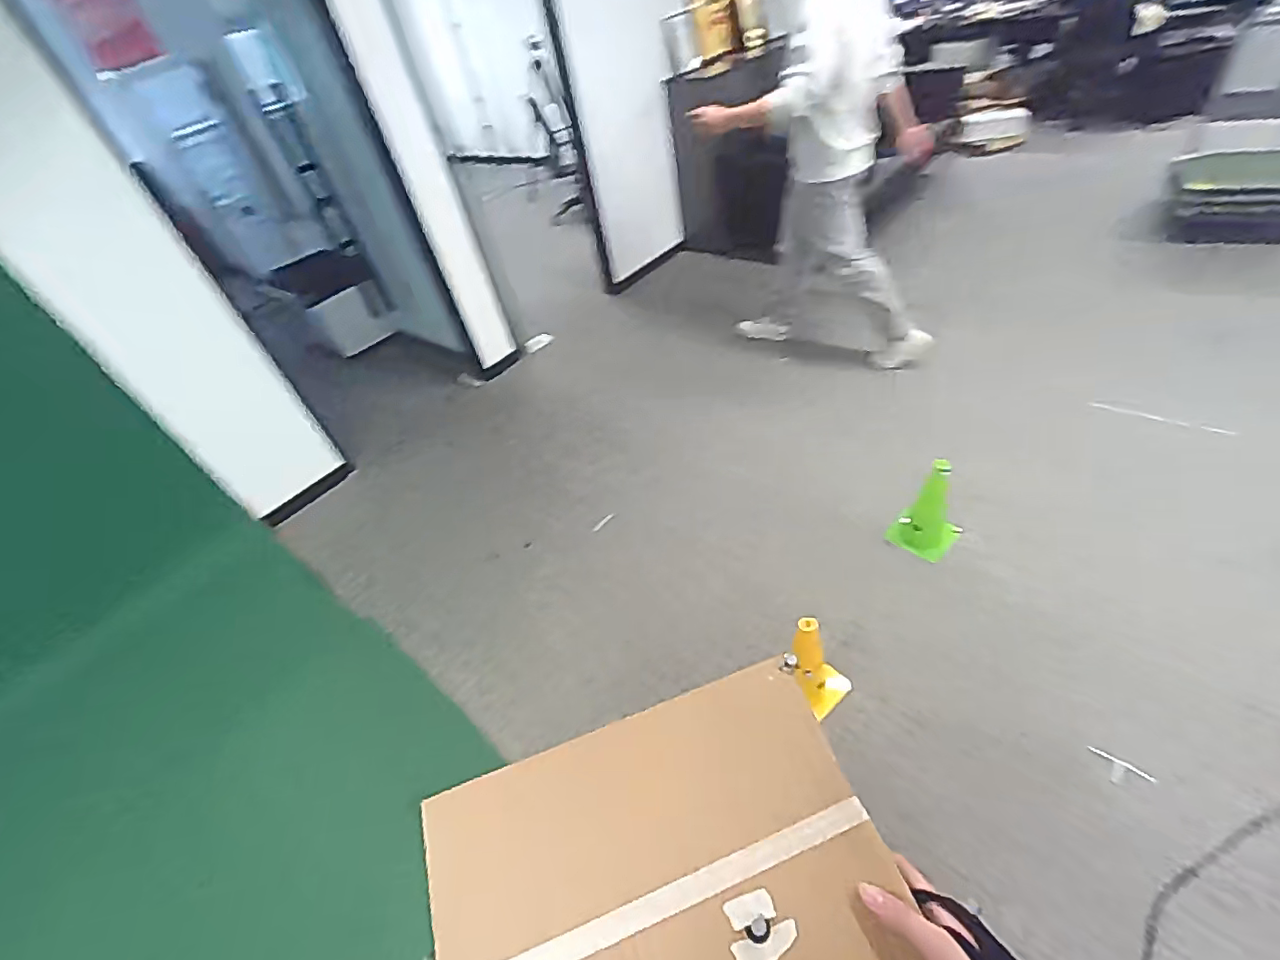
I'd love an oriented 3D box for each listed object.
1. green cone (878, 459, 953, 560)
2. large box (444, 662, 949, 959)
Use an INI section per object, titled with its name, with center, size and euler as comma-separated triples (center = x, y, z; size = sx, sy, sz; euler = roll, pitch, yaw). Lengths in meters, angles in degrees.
[green cone]
center = 0.975, 0.067, 1.864
size = 0.202, 0.368, 0.200
euler = -40, 49, -24
[large box]
center = 0.043, 0.467, 0.615
size = 0.408, 0.320, 0.320
euler = -18, 57, -9
